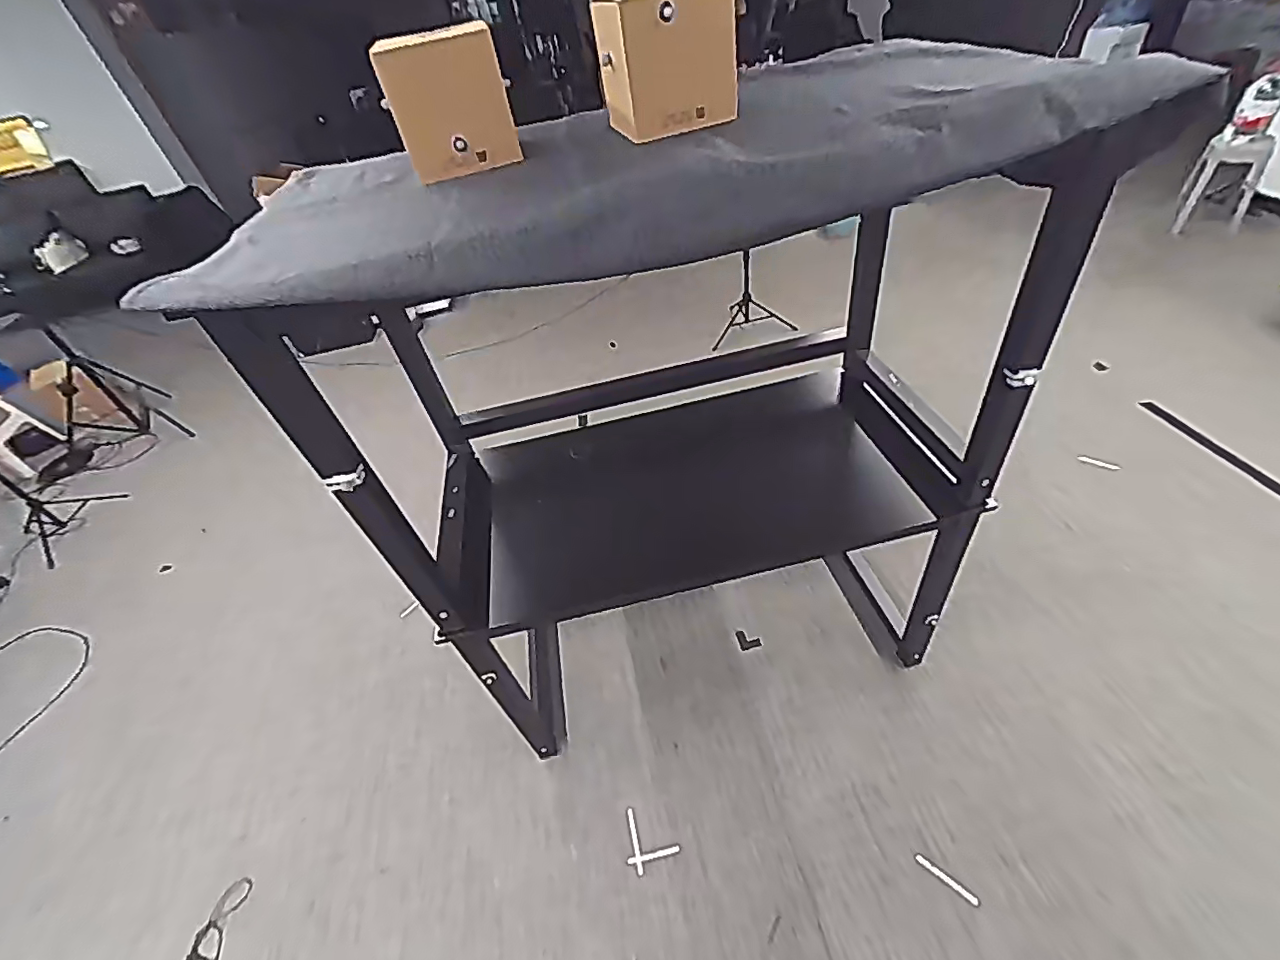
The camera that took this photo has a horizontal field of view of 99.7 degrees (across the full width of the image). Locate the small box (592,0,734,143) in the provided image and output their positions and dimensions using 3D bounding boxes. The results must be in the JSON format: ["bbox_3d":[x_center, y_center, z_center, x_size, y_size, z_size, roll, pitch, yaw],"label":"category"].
[{"bbox_3d":[0.035,-0.636,0.830,0.168,0.176,0.179,-18,43,-6],"label":"small box"}]
